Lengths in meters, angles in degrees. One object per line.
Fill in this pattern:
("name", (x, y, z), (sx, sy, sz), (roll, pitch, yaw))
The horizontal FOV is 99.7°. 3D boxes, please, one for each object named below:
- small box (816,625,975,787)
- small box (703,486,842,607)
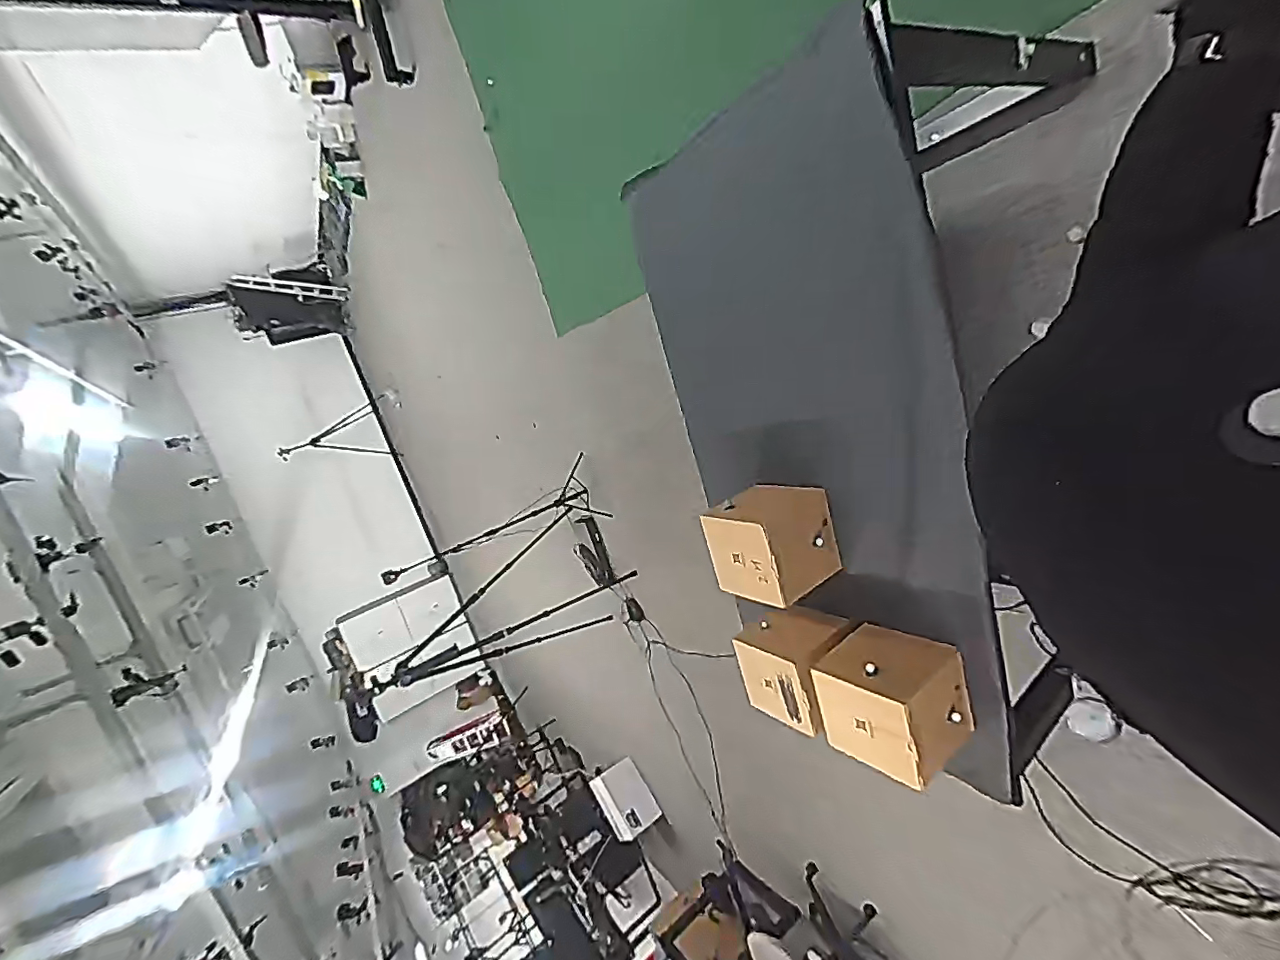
("small box", (0.440, 0.373, 0.933), (0.179, 0.176, 0.168), (2, 113, 56))
("small box", (0.255, 0.116, 1.041), (0.179, 0.176, 0.168), (2, 113, 57))
